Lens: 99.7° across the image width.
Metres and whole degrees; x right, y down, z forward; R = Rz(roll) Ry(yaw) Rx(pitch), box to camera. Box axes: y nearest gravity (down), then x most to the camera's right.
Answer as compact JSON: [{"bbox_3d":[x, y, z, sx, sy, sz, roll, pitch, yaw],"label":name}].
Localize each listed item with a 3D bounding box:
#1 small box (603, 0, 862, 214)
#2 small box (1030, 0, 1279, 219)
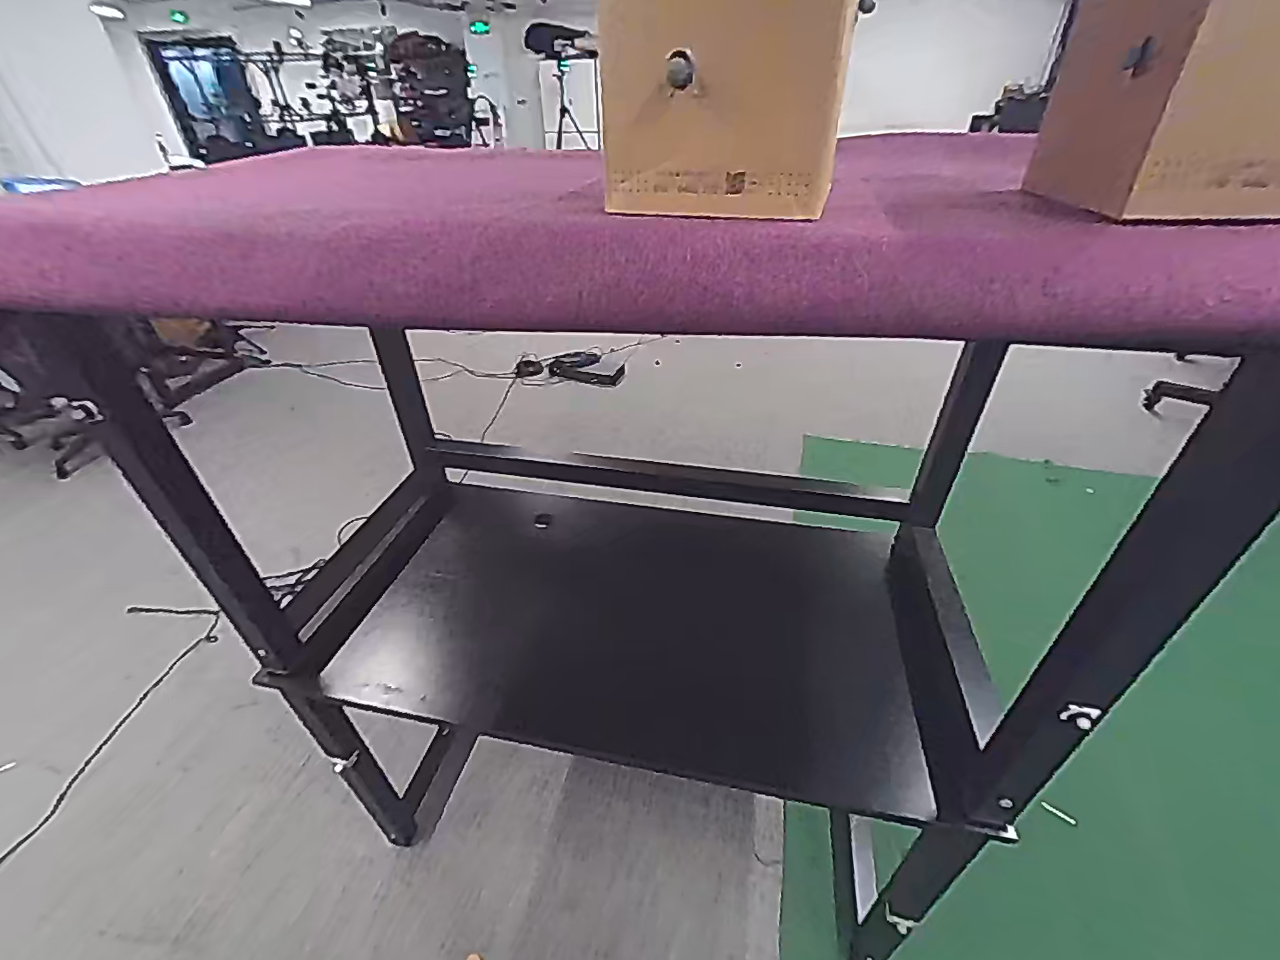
[{"bbox_3d":[0.079,-0.316,0.430,0.168,0.176,0.179,10,36,15],"label":"small box"},{"bbox_3d":[0.415,-0.282,0.371,0.168,0.176,0.179,6,34,10],"label":"small box"}]
